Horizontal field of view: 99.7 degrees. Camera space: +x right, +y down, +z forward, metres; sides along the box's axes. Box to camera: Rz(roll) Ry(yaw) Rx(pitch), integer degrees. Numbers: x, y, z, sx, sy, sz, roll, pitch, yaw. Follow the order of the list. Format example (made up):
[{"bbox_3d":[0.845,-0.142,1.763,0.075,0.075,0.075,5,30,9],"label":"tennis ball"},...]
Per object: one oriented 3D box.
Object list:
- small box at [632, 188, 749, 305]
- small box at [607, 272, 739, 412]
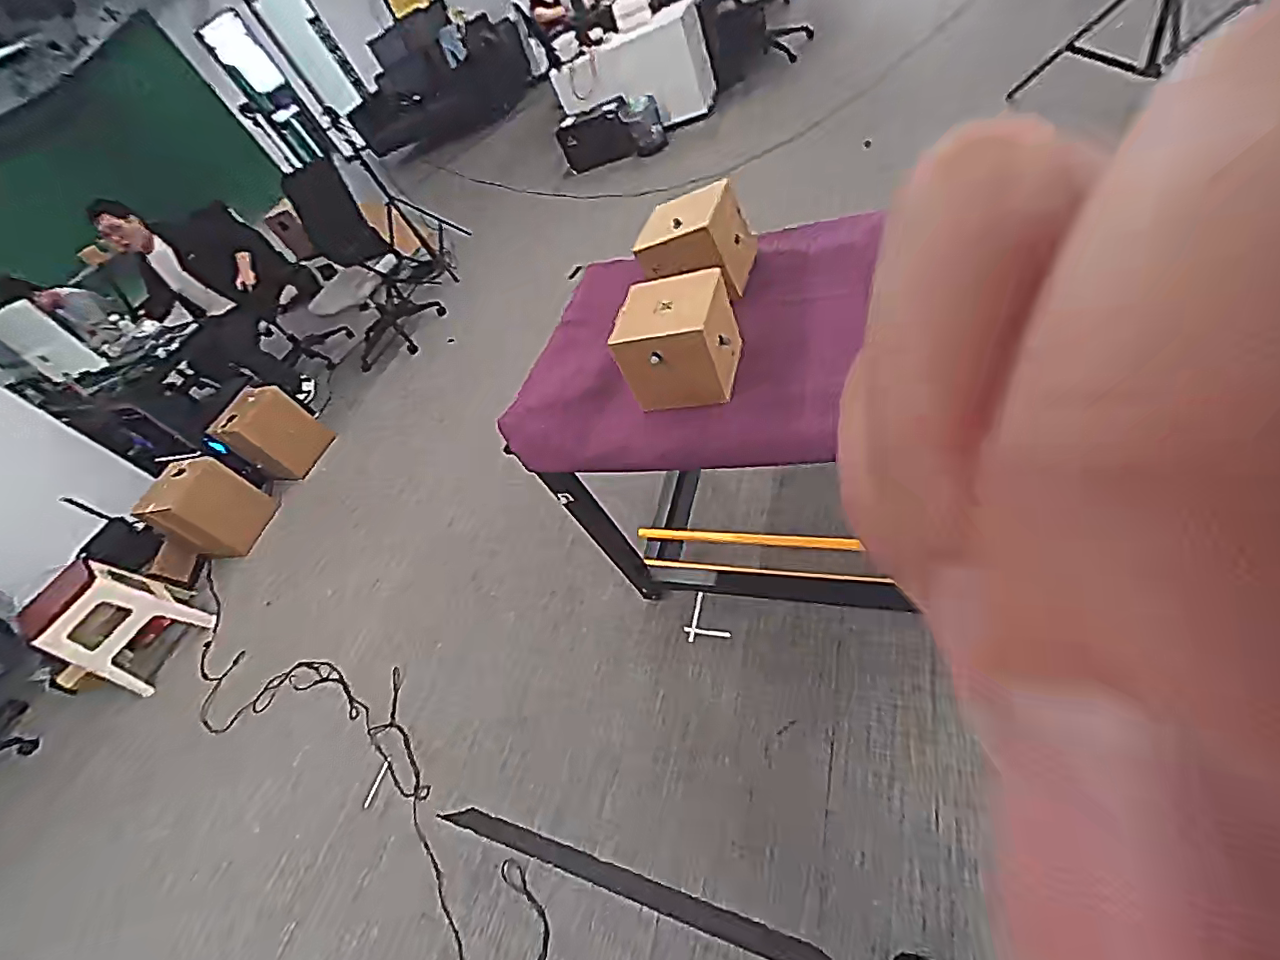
[{"bbox_3d":[0.116,-0.469,1.125,0.179,0.168,0.176,-3,51,35],"label":"small box"},{"bbox_3d":[0.069,-0.241,0.977,0.179,0.176,0.168,-2,52,27],"label":"small box"}]
